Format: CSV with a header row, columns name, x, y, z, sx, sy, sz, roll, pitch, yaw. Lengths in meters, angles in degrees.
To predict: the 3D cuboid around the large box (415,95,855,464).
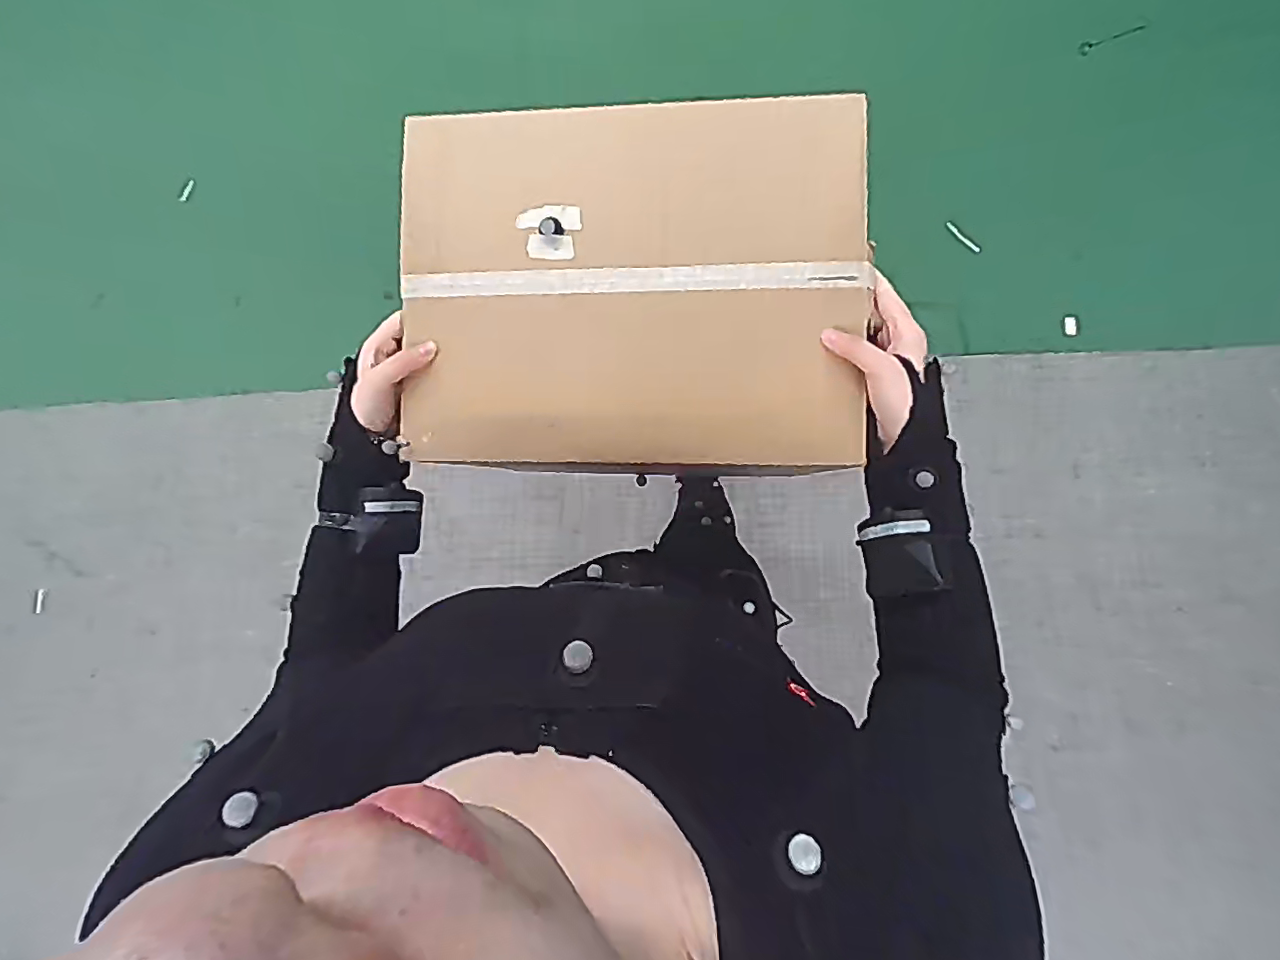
name,x,y,z,sx,sy,sz,roll,pitch,yaw
large box,0.007,-0.177,0.634,0.408,0.320,0.320,1,89,7
